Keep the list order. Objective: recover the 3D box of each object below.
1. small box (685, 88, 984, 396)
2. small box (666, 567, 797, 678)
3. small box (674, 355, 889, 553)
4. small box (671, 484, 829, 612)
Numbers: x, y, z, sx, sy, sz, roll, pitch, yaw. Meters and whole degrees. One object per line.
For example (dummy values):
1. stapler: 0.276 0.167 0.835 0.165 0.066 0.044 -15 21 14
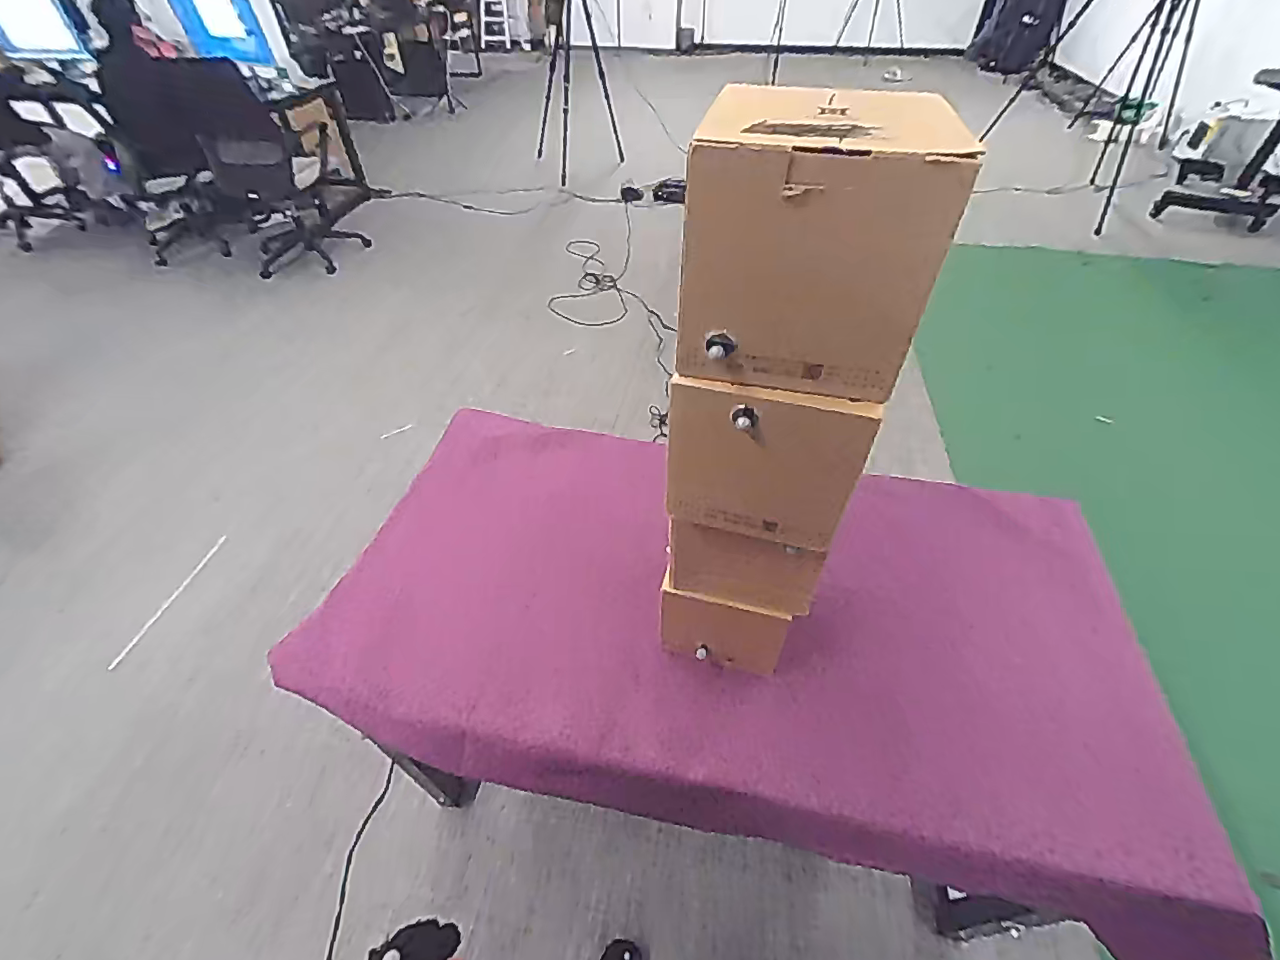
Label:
1. small box: 0.130 -0.185 0.420 0.168 0.176 0.179 9 46 10
2. small box: 0.133 0.151 0.776 0.168 0.176 0.179 11 48 12
3. small box: 0.131 -0.059 0.527 0.168 0.176 0.179 12 46 13
4. small box: 0.138 0.039 0.660 0.179 0.176 0.168 10 47 11
